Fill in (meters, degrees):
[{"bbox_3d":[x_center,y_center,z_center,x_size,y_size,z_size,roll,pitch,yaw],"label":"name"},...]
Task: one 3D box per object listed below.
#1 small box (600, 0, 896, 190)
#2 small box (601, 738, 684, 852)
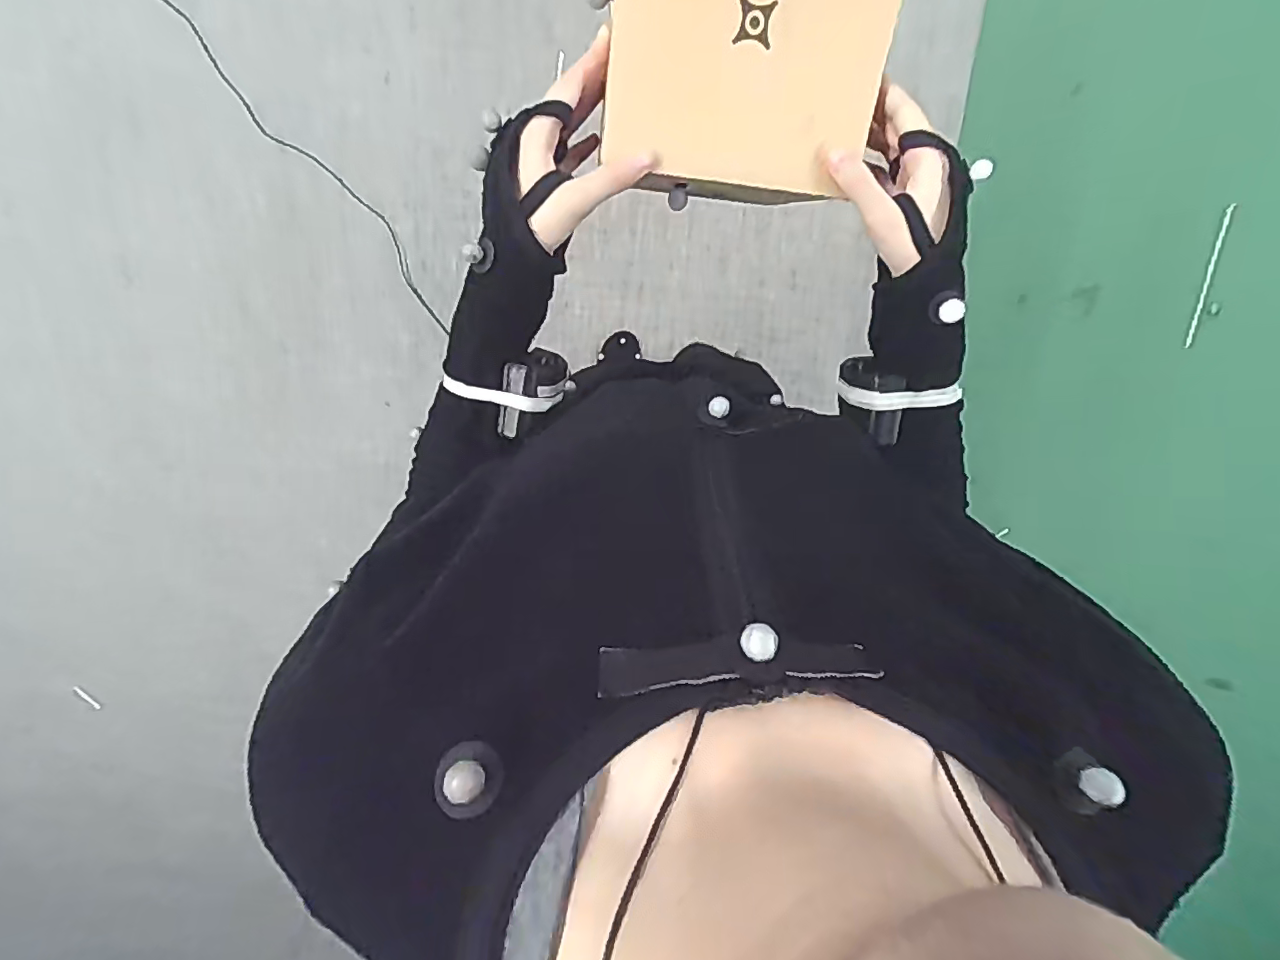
[{"bbox_3d":[0.061,-0.312,0.378,0.168,0.176,0.179,4,113,-7],"label":"small box"},{"bbox_3d":[-0.002,0.732,1.270,0.179,0.176,0.168,2,104,-5],"label":"small box"}]
